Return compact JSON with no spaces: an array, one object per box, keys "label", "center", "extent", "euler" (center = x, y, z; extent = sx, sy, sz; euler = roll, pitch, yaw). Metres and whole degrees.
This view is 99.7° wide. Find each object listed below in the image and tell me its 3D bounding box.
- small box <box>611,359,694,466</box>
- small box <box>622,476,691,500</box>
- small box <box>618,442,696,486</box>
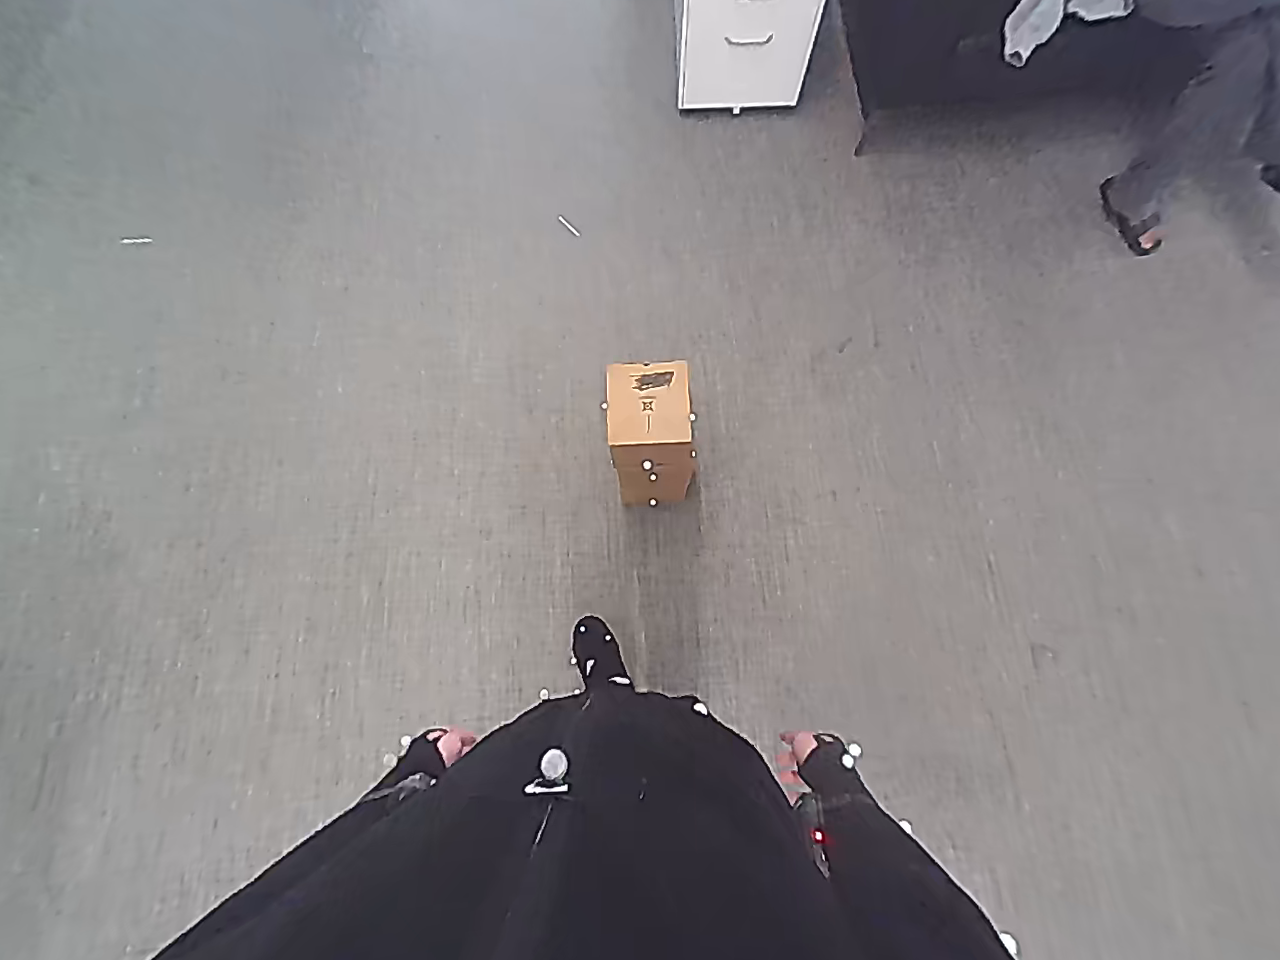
[{"label":"small box","center":[0.025,-0.138,1.149],"extent":[0.168,0.176,0.179],"euler":[-2,75,1]},{"label":"small box","center":[0.039,-0.044,1.463],"extent":[0.179,0.176,0.168],"euler":[-2,74,0]},{"label":"small box","center":[0.037,-0.086,1.305],"extent":[0.179,0.176,0.168],"euler":[-2,74,-1]}]
